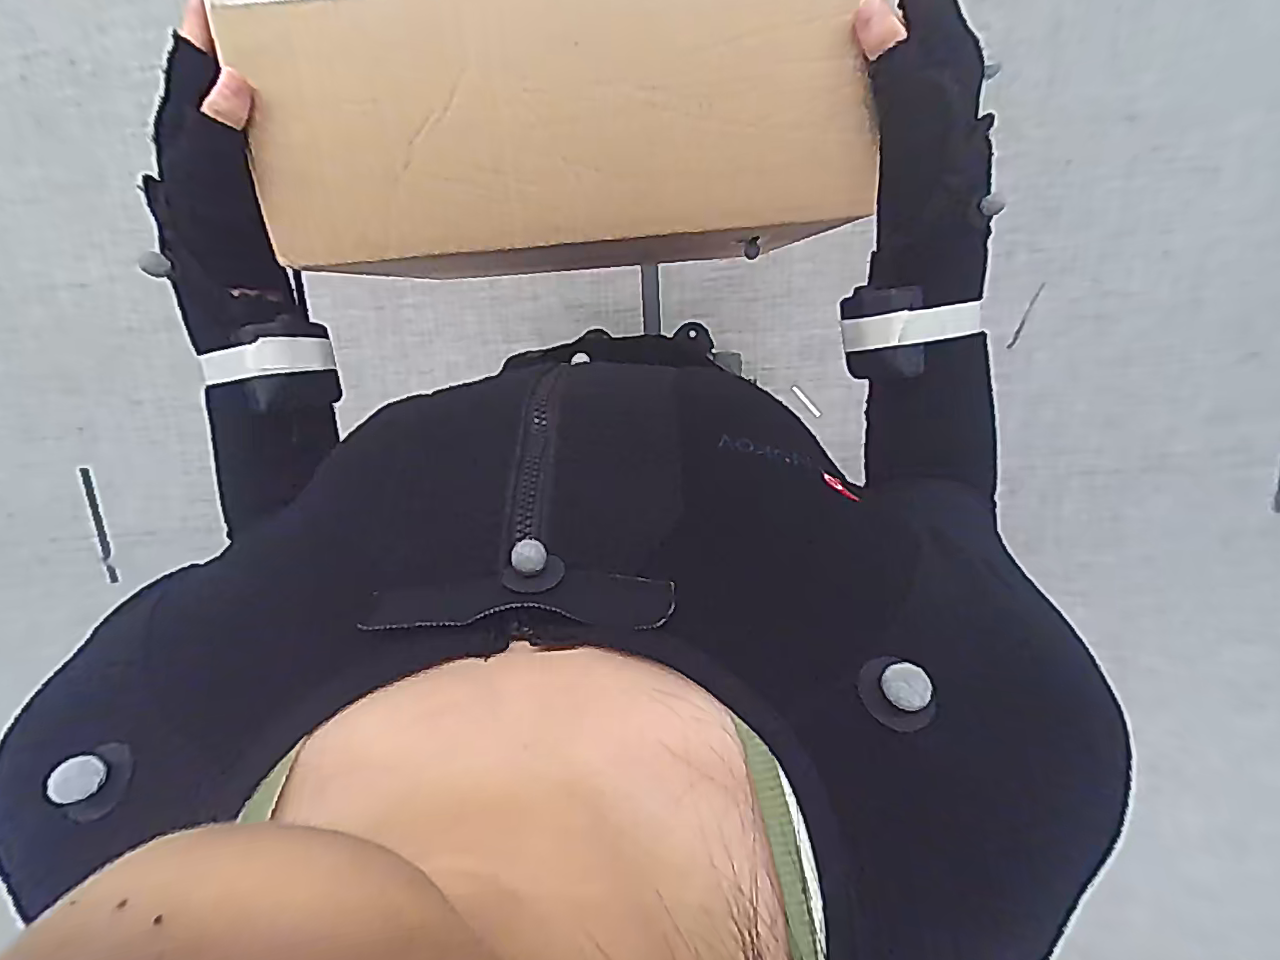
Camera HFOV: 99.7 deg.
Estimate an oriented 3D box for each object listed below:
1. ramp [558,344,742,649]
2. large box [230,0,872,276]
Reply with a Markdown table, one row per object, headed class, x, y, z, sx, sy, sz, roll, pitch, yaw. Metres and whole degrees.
| class | x | y | z | sx | sy | sz | roll | pitch | yaw |
| --- | --- | --- | --- | --- | --- | --- | --- | --- | --- |
| ramp | 0.062 | 0.108 | 1.624 | 0.509 | 0.206 | 0.991 | -5 | 104 | 3 |
| large box | -0.055 | -0.361 | 0.469 | 0.408 | 0.320 | 0.320 | -5 | 108 | 2 |
